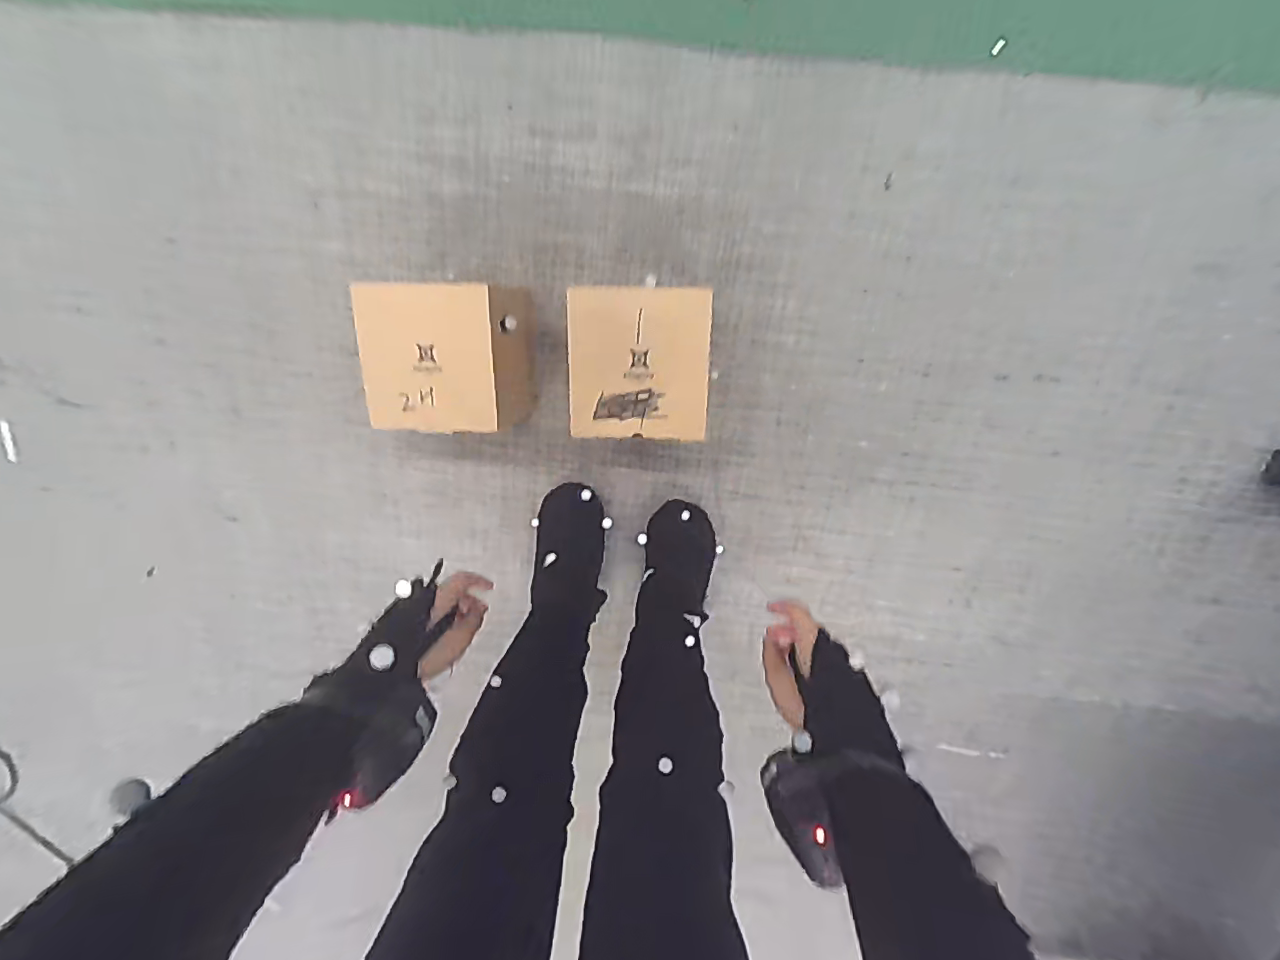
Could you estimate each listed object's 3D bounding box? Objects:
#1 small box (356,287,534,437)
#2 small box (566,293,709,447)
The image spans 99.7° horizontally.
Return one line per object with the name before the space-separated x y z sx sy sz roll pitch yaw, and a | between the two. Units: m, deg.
small box | -0.247 -0.162 0.727 0.168 0.176 0.179 2 108 5
small box | 0.001 -0.151 0.711 0.168 0.176 0.179 2 107 3
